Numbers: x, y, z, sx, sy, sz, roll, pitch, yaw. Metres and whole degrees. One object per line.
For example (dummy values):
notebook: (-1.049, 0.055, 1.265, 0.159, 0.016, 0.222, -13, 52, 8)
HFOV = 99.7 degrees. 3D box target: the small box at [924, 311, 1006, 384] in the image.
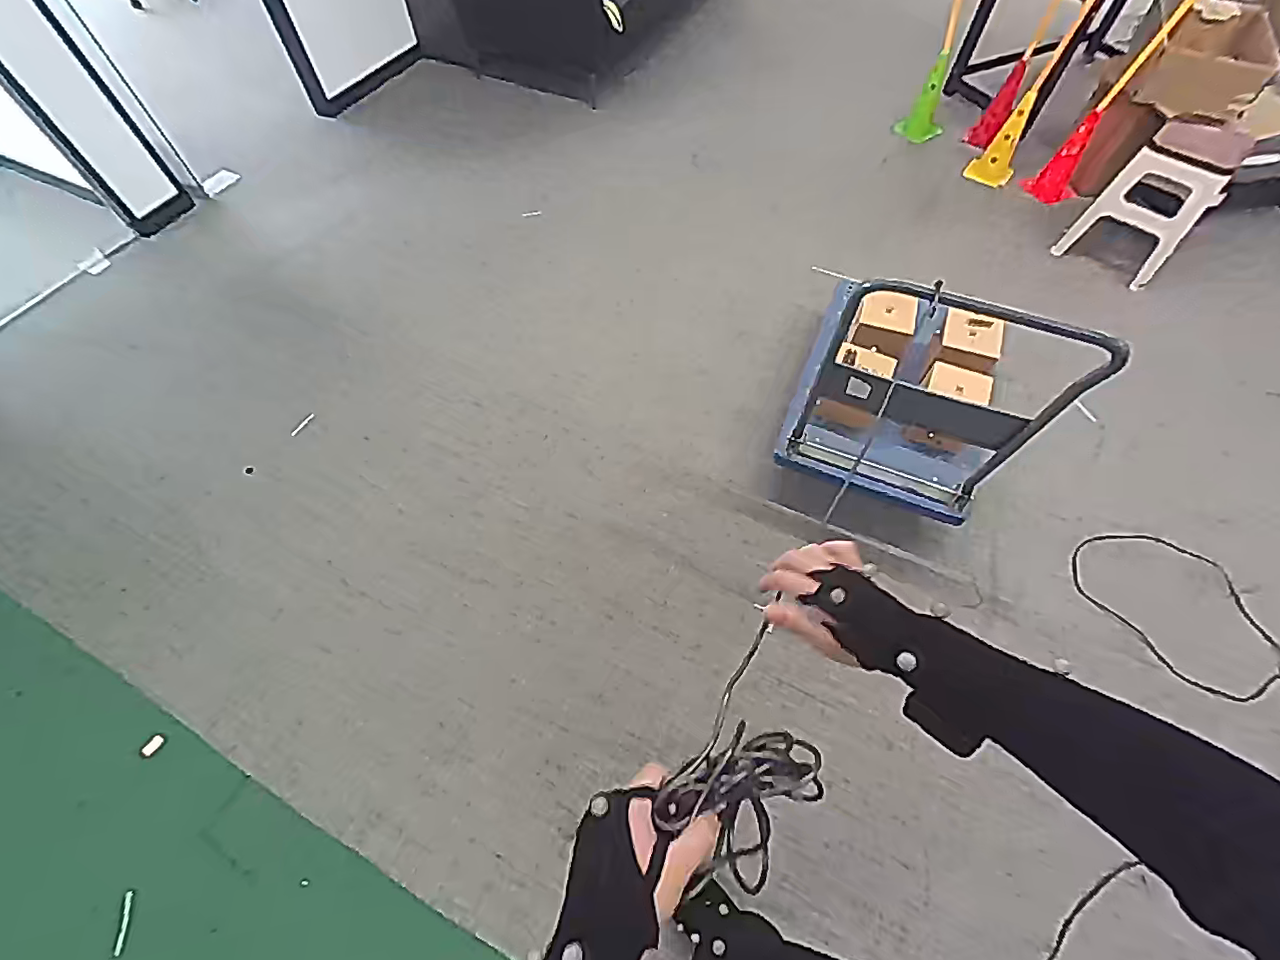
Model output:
small box: (1.029, -0.399, 1.719, 0.168, 0.176, 0.179, 19, 63, 13)

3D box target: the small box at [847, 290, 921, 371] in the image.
small box: (0.797, -0.486, 1.777, 0.168, 0.176, 0.179, 18, 62, 11)

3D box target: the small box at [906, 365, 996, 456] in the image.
small box: (0.919, -0.204, 1.610, 0.168, 0.176, 0.179, 22, 63, 14)
